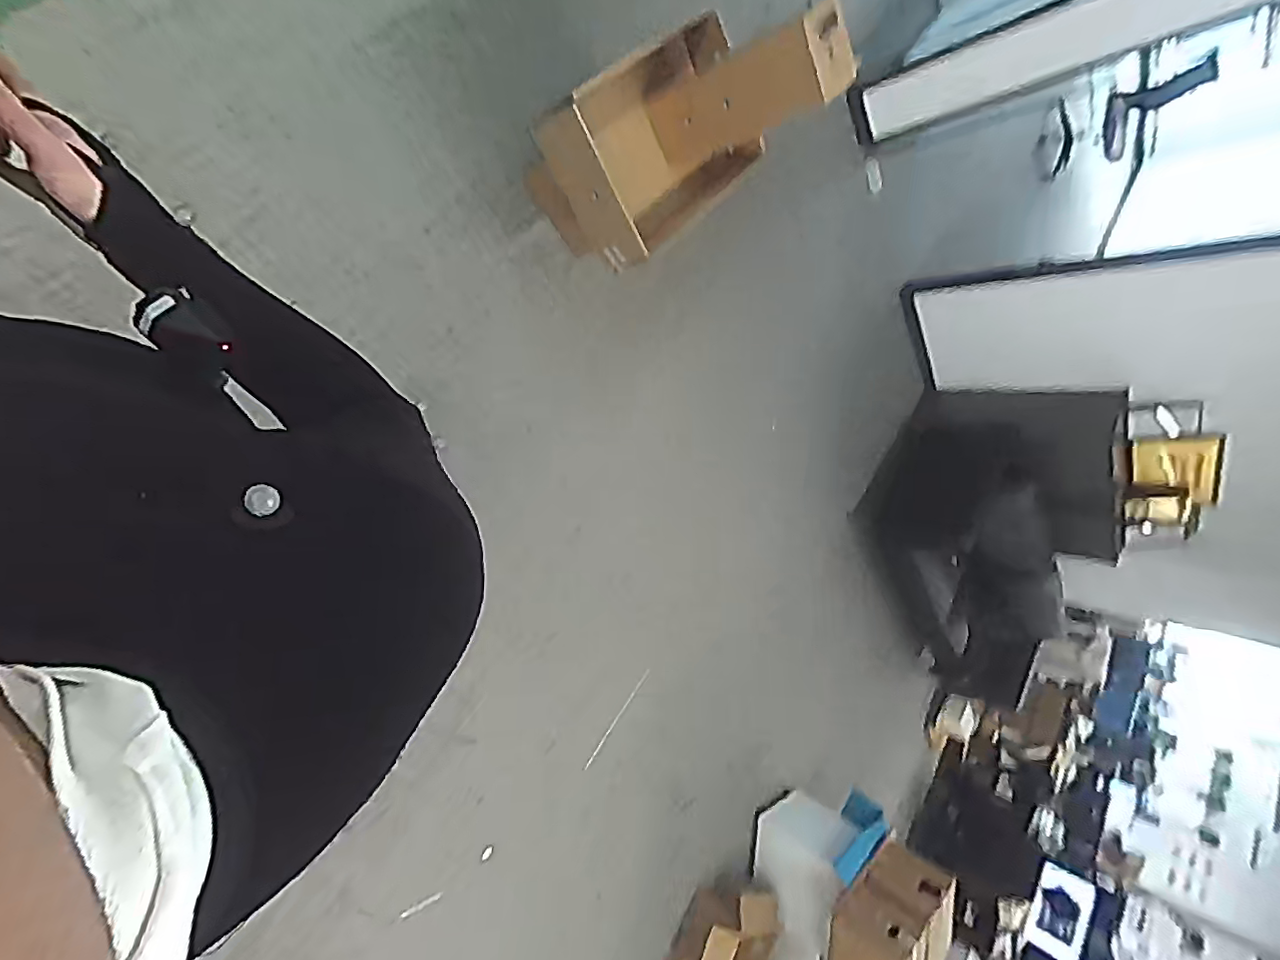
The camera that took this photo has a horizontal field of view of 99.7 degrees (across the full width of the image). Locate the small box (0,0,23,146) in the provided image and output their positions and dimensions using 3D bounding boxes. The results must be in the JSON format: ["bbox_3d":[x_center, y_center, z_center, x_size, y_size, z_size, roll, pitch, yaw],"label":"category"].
[{"bbox_3d":[-0.527,-0.321,0.326,0.179,0.176,0.168,-7,114,-41],"label":"small box"}]

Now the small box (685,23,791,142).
[{"bbox_3d":[0.248,-0.995,1.374,0.168,0.176,0.179,-51,126,-22],"label":"small box"}]

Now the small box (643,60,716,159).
[{"bbox_3d":[0.142,-1.021,1.497,0.168,0.176,0.179,-49,126,-23],"label":"small box"}]
